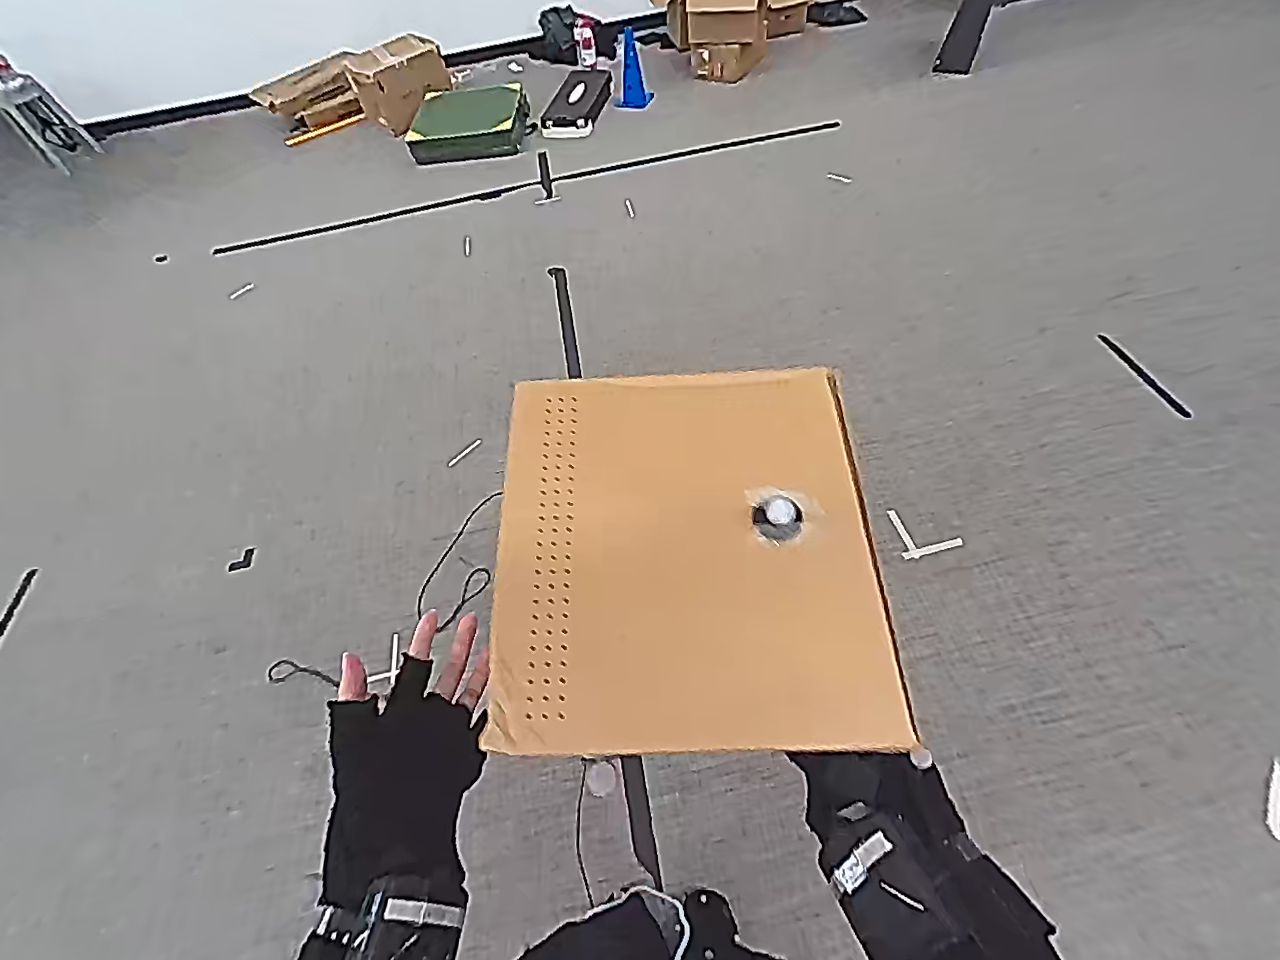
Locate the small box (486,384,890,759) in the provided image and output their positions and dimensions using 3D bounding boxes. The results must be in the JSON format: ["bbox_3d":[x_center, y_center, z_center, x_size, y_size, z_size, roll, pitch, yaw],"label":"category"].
[{"bbox_3d":[0.018,0.064,0.322,0.176,0.168,0.179,-3,63,4],"label":"small box"}]
